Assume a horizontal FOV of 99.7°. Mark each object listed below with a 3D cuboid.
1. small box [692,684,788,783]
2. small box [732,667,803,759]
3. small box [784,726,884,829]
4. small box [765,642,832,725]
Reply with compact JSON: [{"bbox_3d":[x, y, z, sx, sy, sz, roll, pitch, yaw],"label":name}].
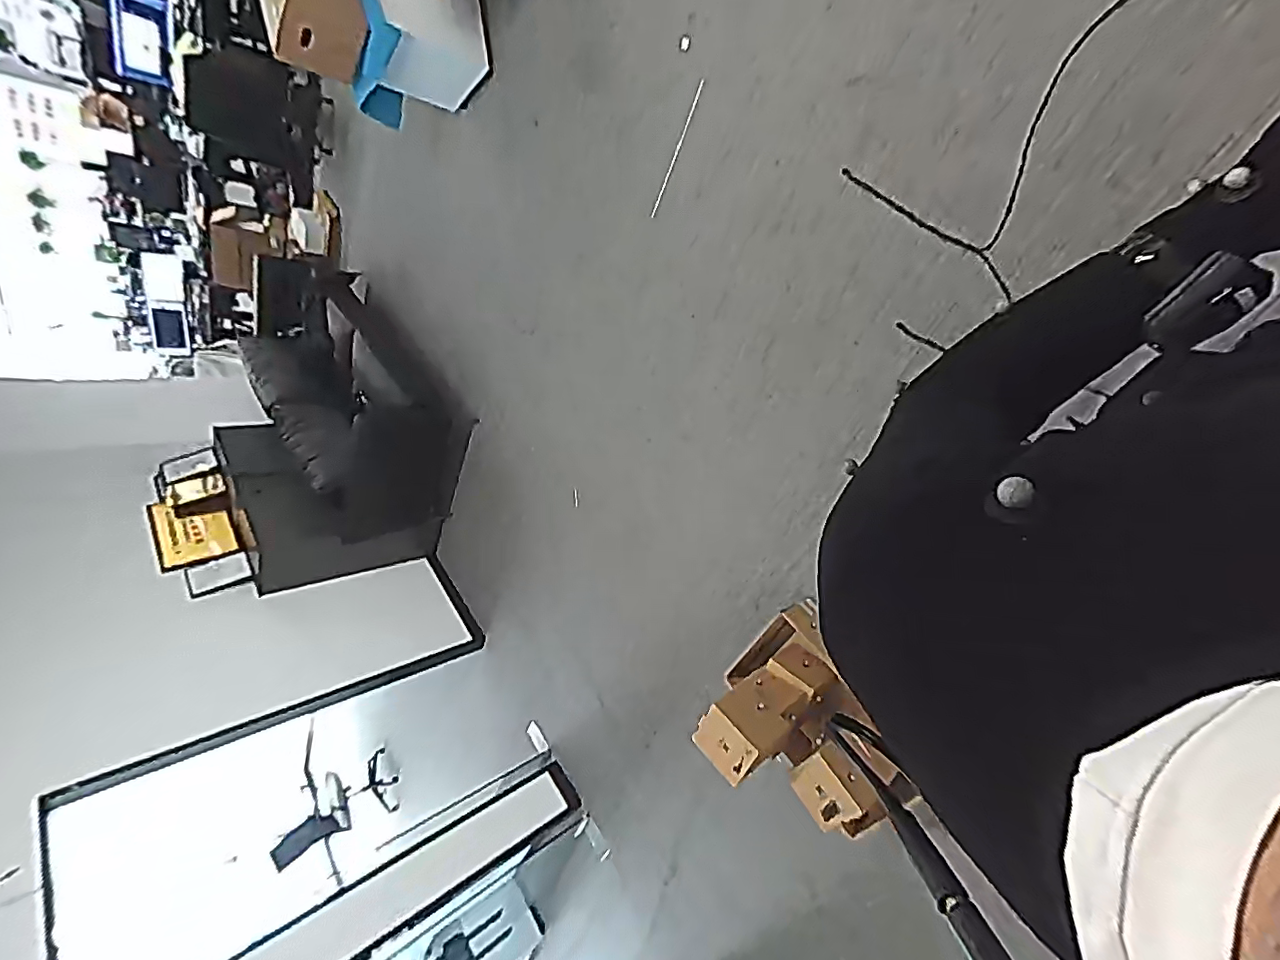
[{"bbox_3d":[0.289,0.718,1.560,0.179,0.176,0.168,41,124,33],"label":"small box"},{"bbox_3d":[0.391,0.717,1.690,0.168,0.176,0.179,20,111,41],"label":"small box"},{"bbox_3d":[0.556,0.844,1.545,0.179,0.176,0.168,53,130,27],"label":"small box"},{"bbox_3d":[0.513,0.669,1.792,0.168,0.176,0.179,32,119,37],"label":"small box"}]
